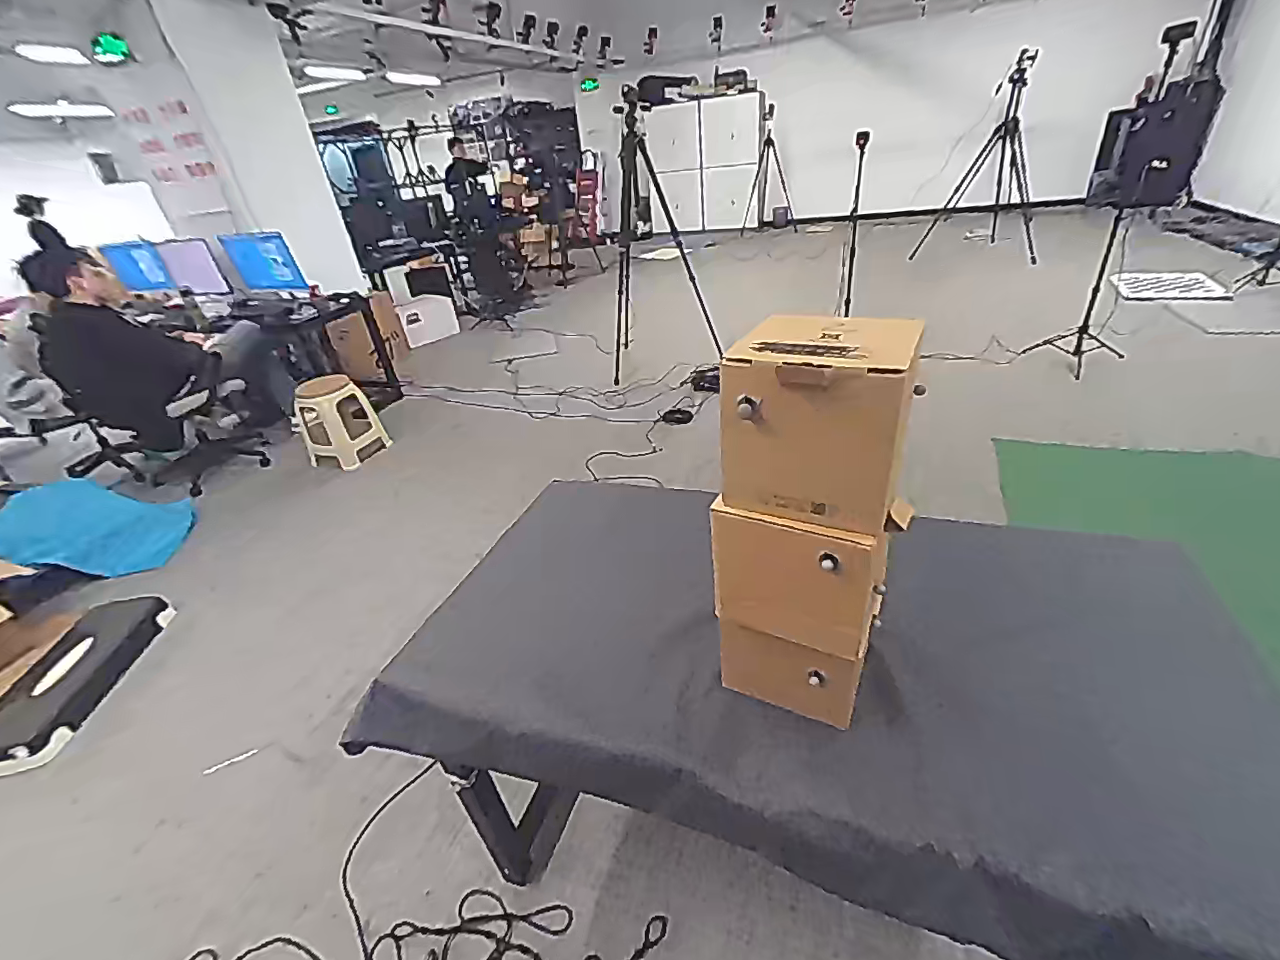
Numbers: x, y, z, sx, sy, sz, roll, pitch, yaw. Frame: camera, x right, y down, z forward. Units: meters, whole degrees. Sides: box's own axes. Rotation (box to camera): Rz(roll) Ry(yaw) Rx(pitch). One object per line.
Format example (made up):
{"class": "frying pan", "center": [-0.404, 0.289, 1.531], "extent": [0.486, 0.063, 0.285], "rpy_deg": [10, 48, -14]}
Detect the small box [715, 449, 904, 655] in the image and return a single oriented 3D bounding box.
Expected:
{"class": "small box", "center": [0.204, 0.082, 0.658], "extent": [0.179, 0.176, 0.168], "rpy_deg": [12, 35, 28]}

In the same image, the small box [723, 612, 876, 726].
{"class": "small box", "center": [0.229, 0.209, 0.758], "extent": [0.179, 0.176, 0.168], "rpy_deg": [10, 34, 28]}
